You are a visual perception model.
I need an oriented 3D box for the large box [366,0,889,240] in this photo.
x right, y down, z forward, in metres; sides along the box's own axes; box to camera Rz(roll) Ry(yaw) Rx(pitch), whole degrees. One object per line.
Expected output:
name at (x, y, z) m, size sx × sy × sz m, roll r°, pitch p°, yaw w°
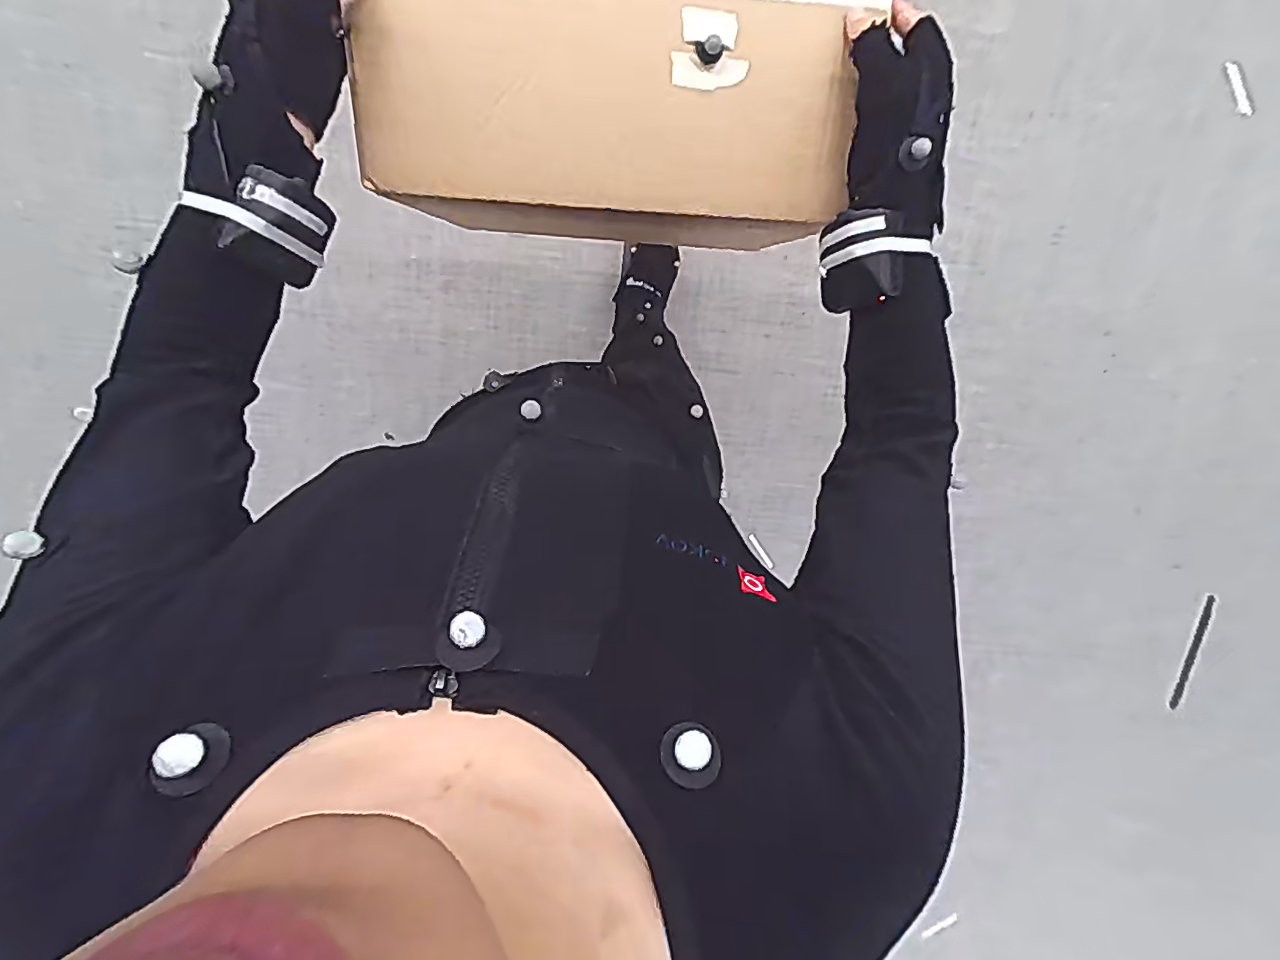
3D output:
large box at (-0.015, -0.429, 0.543) m, size 0.408 × 0.320 × 0.320 m, roll 2°, pitch 110°, yaw -5°
